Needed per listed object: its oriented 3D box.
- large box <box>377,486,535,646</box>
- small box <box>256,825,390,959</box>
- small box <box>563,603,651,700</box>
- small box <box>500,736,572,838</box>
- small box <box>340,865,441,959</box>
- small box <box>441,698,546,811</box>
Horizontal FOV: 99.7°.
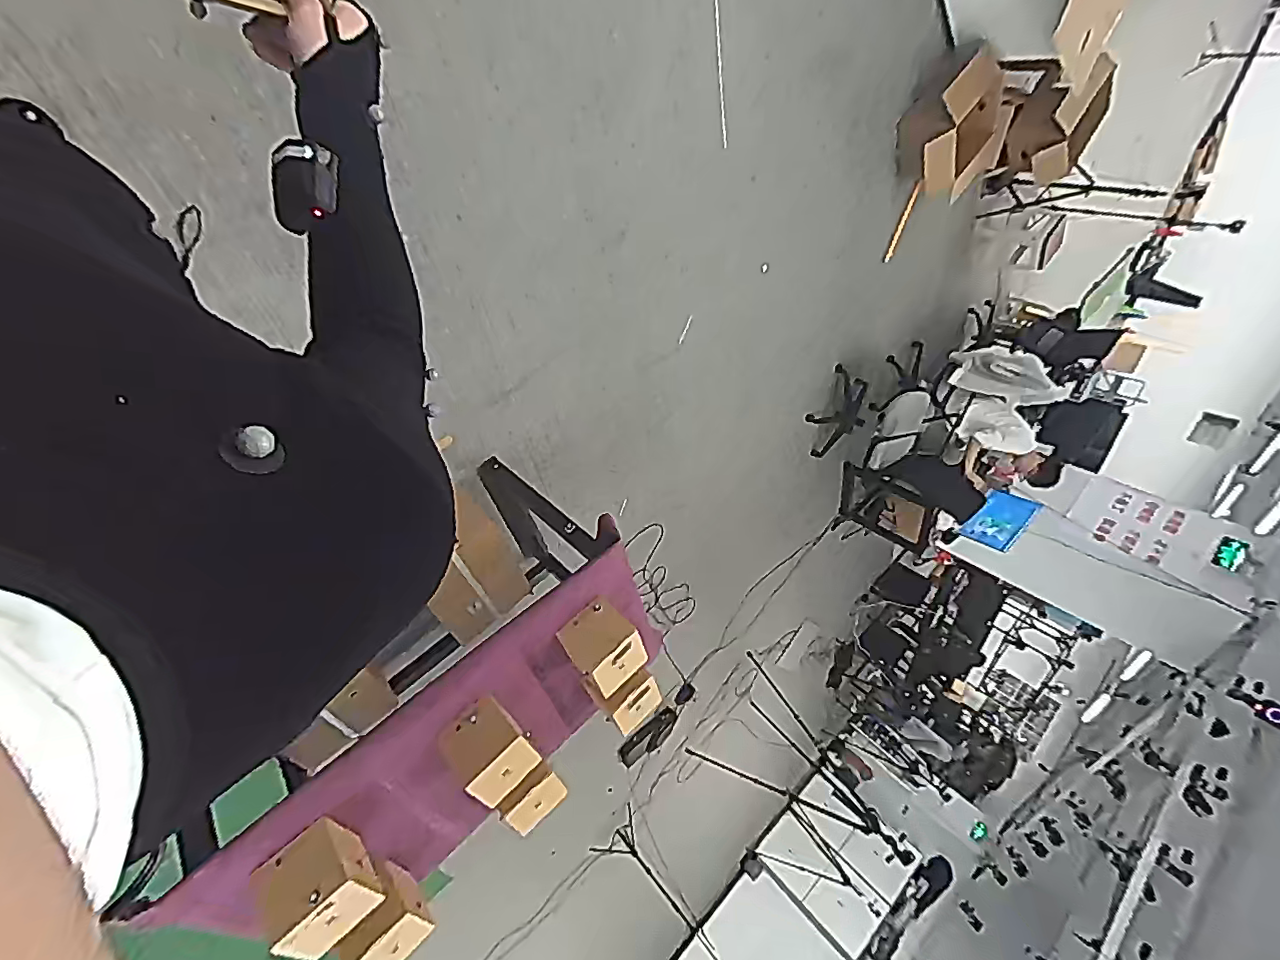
[{"bbox_3d":[-0.636,0.299,1.900,0.320,0.320,0.408,-39,139,-22],"label":"large box"},{"bbox_3d":[-0.688,0.898,1.179,0.168,0.176,0.179,-37,140,-26],"label":"small box"},{"bbox_3d":[-0.095,0.476,1.531,0.168,0.176,0.179,-38,139,-22],"label":"small box"},{"bbox_3d":[-0.326,0.882,1.563,0.168,0.176,0.179,-37,136,-23],"label":"small box"},{"bbox_3d":[-0.648,1.135,1.381,0.168,0.176,0.179,-38,137,-26],"label":"small box"},{"bbox_3d":[-0.373,0.697,1.386,0.168,0.176,0.179,-39,139,-23],"label":"small box"}]
